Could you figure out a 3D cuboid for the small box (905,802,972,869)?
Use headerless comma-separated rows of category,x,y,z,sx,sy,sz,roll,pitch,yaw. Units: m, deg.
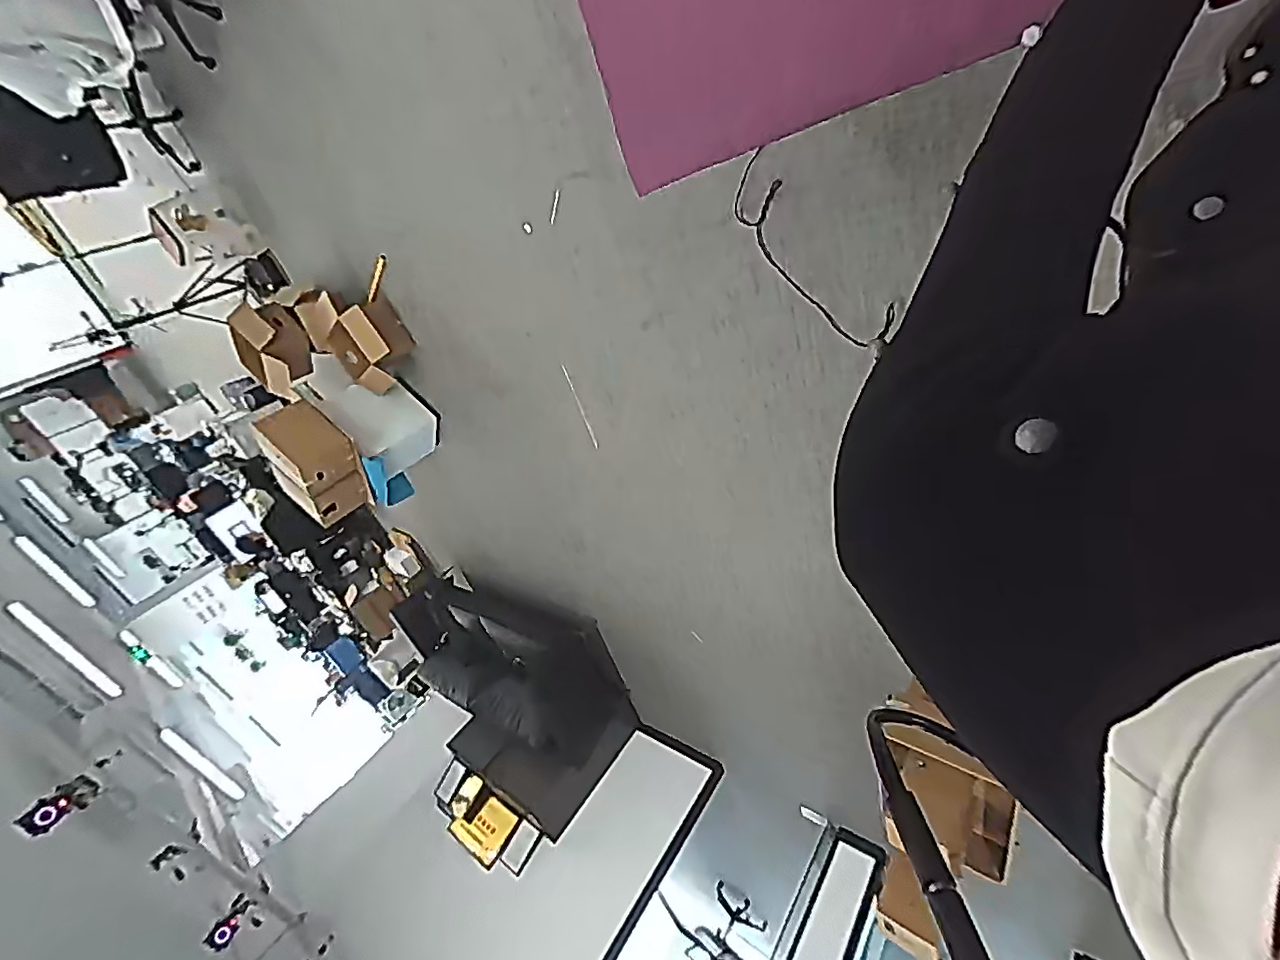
small box,1.040,1.194,1.885,0.179,0.176,0.168,13,131,38

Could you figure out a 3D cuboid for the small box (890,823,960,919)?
small box,0.943,1.285,1.788,0.179,0.176,0.168,11,129,37

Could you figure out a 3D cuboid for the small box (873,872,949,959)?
small box,0.845,1.374,1.689,0.179,0.176,0.168,10,129,37

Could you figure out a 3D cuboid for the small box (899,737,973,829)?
small box,0.958,0.969,1.751,0.179,0.176,0.168,9,130,40
